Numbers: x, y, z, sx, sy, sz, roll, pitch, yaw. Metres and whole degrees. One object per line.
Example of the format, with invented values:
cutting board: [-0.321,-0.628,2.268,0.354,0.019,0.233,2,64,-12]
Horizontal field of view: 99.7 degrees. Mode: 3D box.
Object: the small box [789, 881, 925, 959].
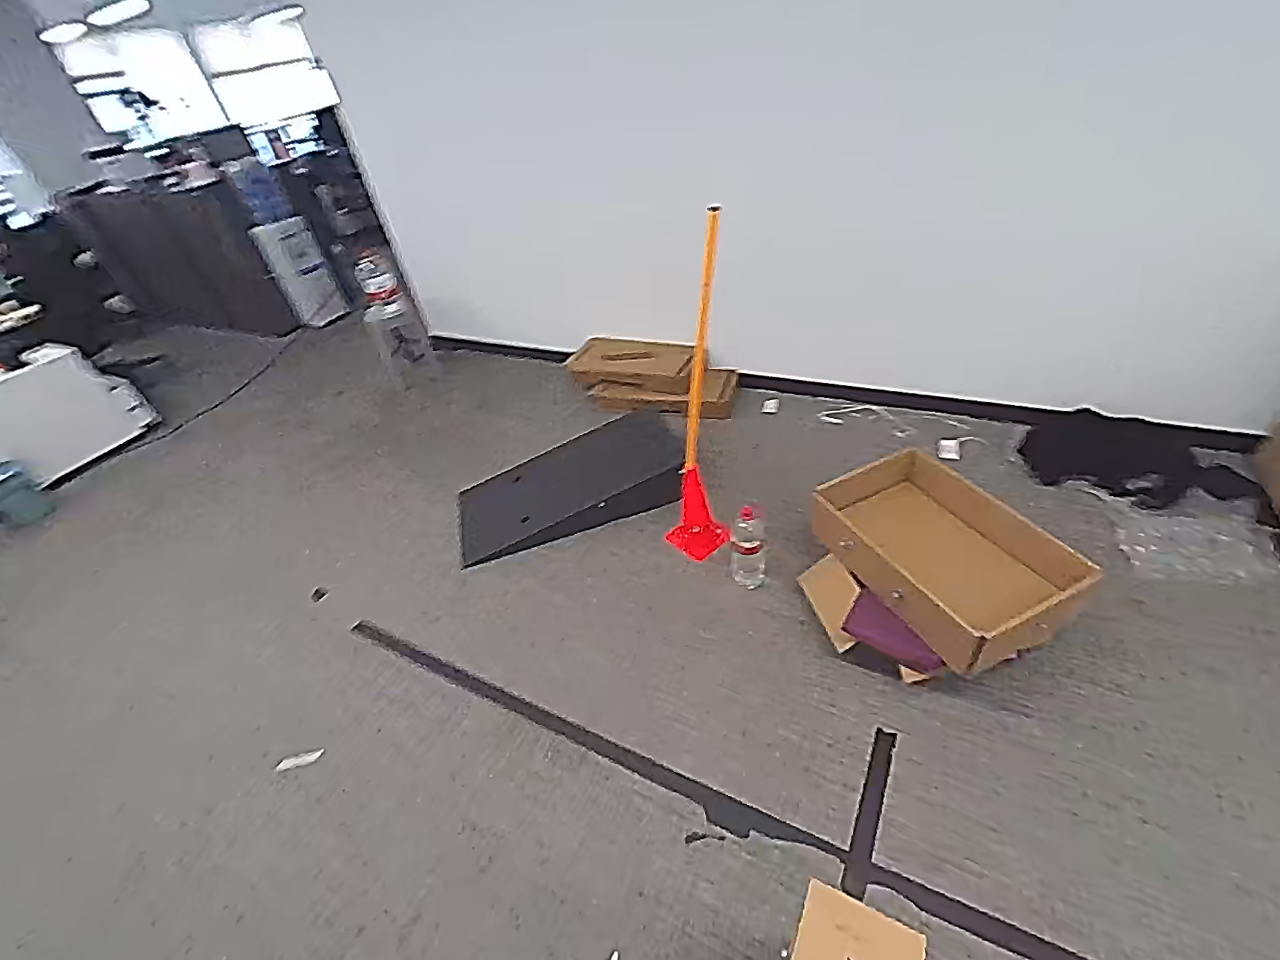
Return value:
small box: [0.303,0.750,0.795,0.168,0.176,0.179,14,45,25]
